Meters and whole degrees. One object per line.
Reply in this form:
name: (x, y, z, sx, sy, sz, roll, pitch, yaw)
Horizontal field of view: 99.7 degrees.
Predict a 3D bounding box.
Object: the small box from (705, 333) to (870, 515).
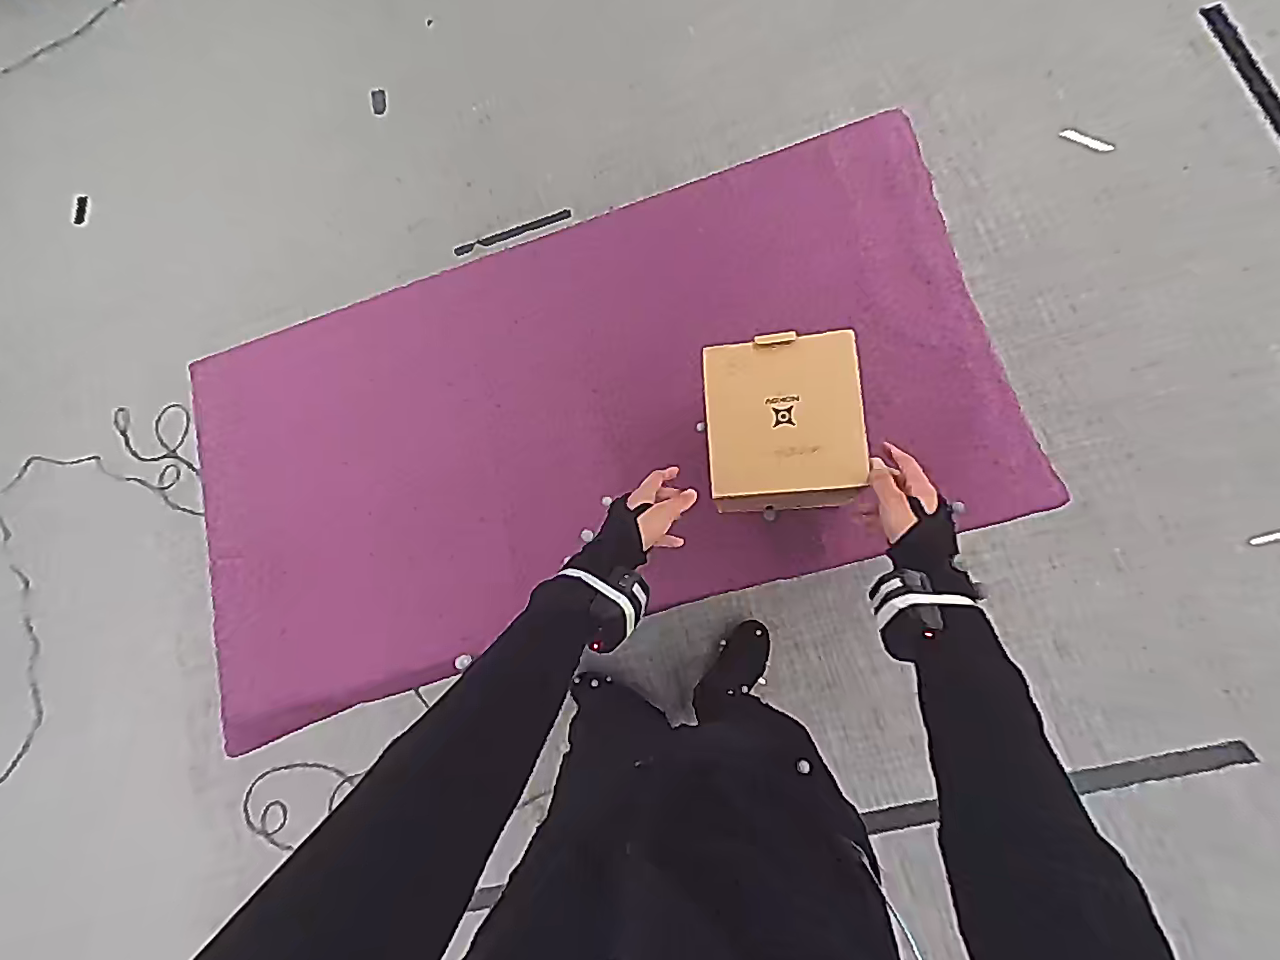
small box: (0.168, -0.056, 0.655, 0.168, 0.176, 0.179, -4, 80, 11)
